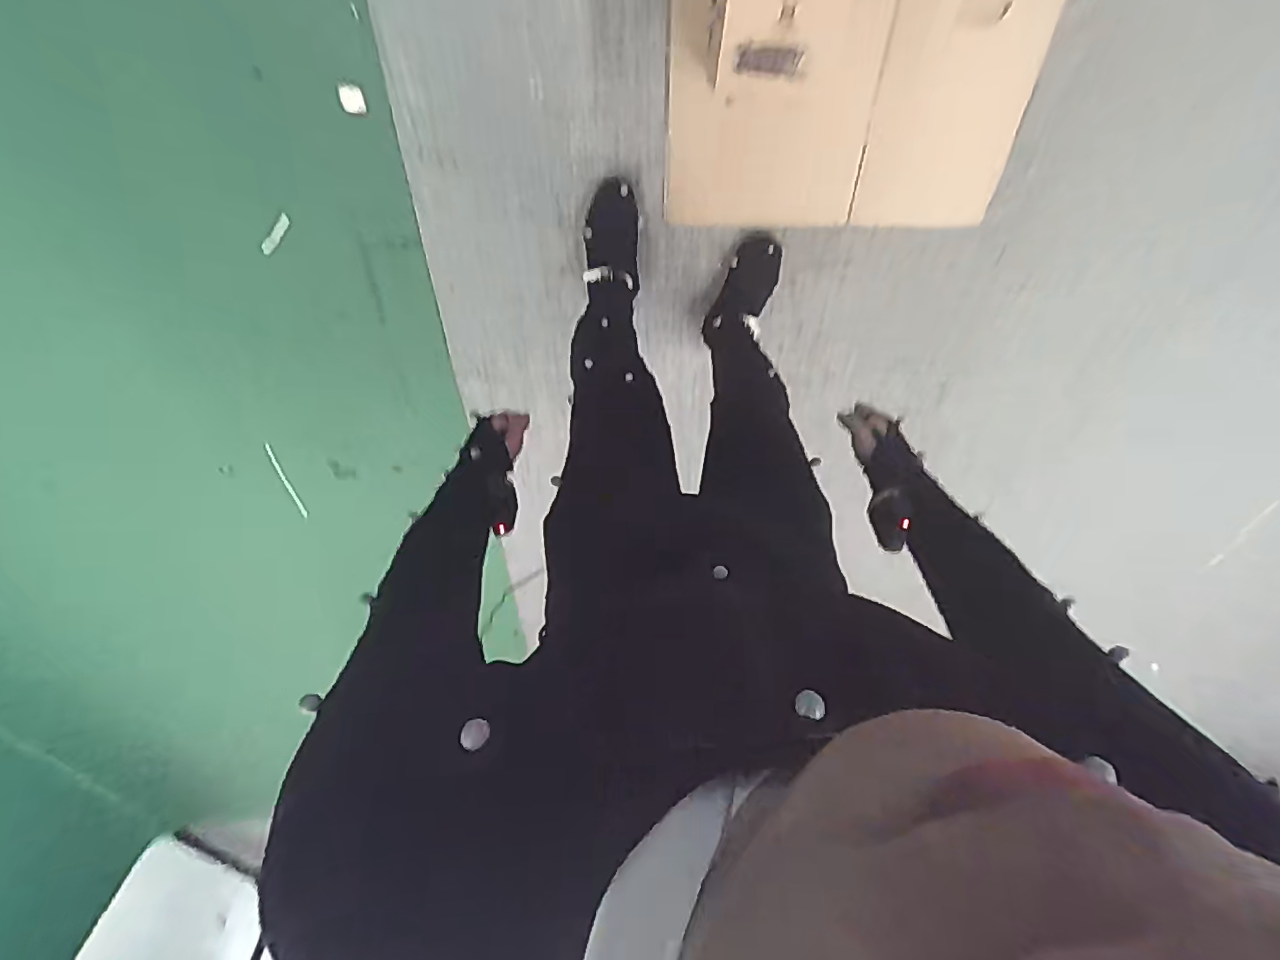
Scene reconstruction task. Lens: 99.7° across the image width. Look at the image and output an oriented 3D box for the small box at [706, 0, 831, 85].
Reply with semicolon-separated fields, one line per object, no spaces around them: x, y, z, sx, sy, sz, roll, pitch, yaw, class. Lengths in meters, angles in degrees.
0.210;-0.781;0.912;0.179;0.176;0.168;4;131;-1;small box
